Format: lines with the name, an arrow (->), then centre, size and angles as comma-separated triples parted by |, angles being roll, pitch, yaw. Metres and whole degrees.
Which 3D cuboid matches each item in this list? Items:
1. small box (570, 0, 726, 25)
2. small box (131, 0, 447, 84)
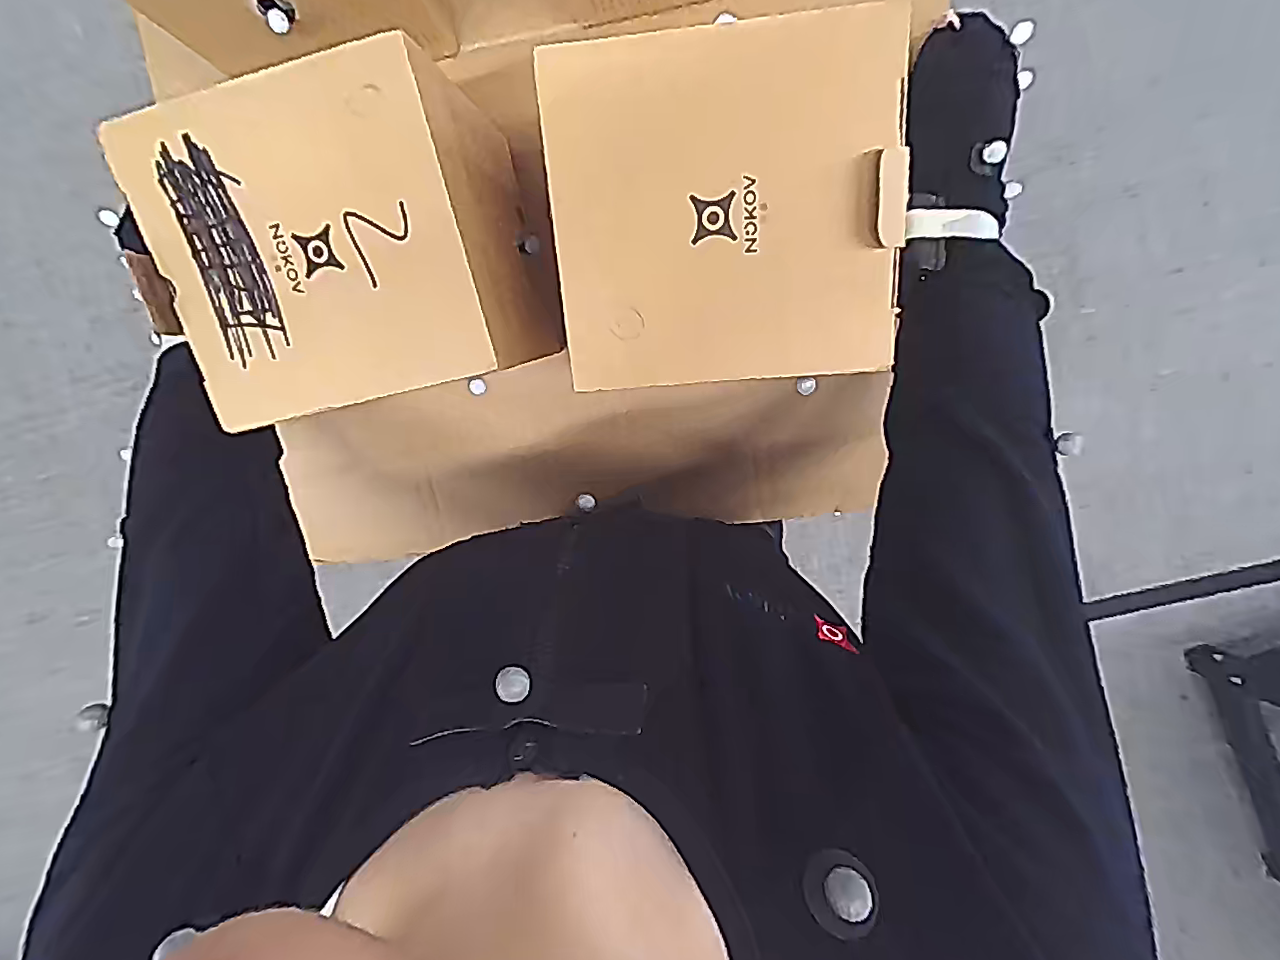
small box -> 0.021, -0.408, 0.301 | 0.179, 0.176, 0.168 | -6, 97, 7
small box -> -0.239, -0.383, 0.330 | 0.168, 0.176, 0.179 | -8, 96, 6
